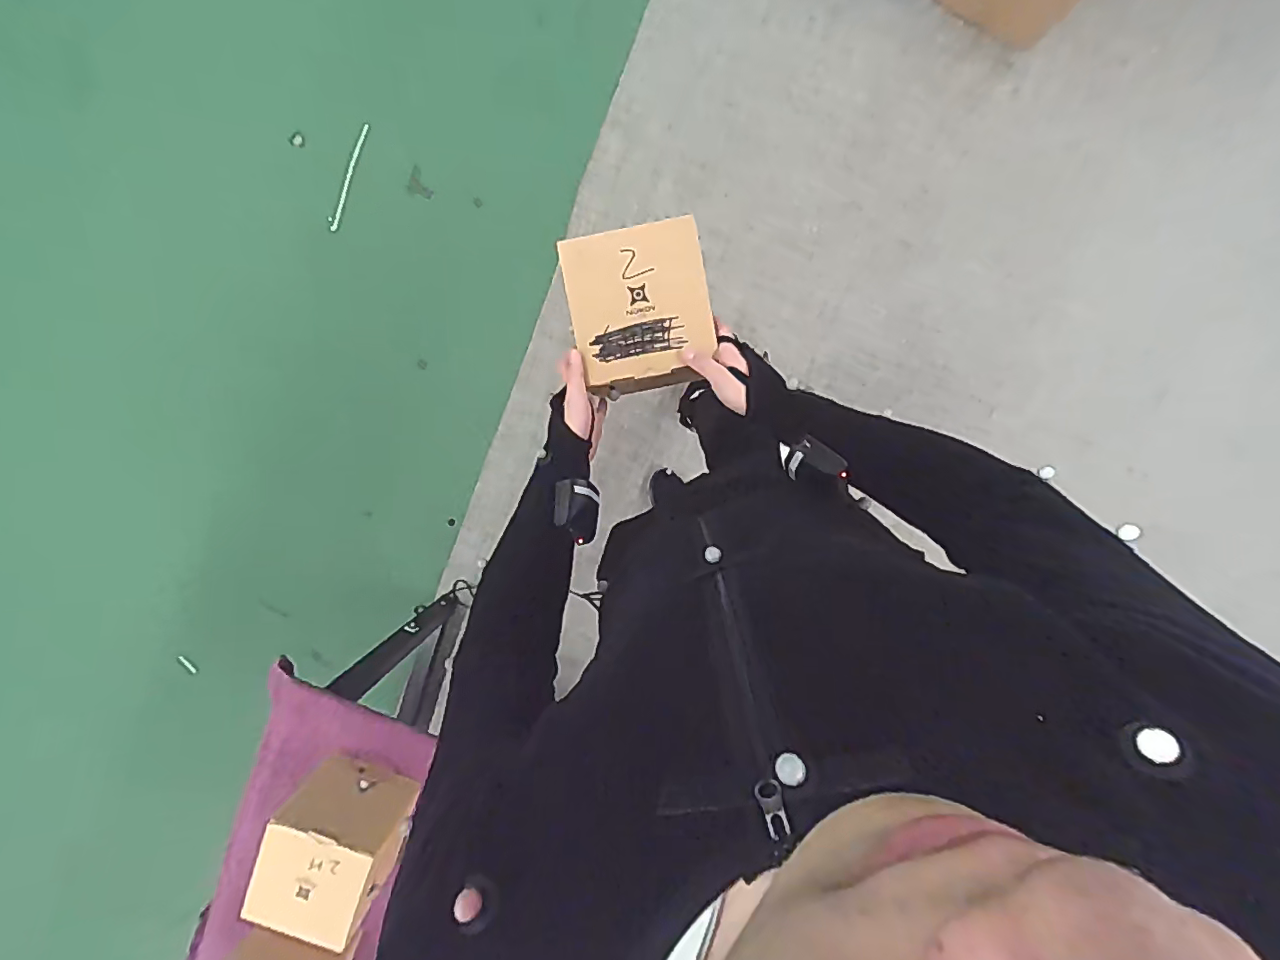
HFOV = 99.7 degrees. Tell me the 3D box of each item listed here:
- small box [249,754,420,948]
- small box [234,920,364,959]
[{"bbox_3d":[-0.492,0.602,0.897,0.168,0.176,0.179,20,97,-2],"label":"small box"},{"bbox_3d":[-0.613,0.879,0.937,0.168,0.176,0.179,22,97,-2],"label":"small box"}]
